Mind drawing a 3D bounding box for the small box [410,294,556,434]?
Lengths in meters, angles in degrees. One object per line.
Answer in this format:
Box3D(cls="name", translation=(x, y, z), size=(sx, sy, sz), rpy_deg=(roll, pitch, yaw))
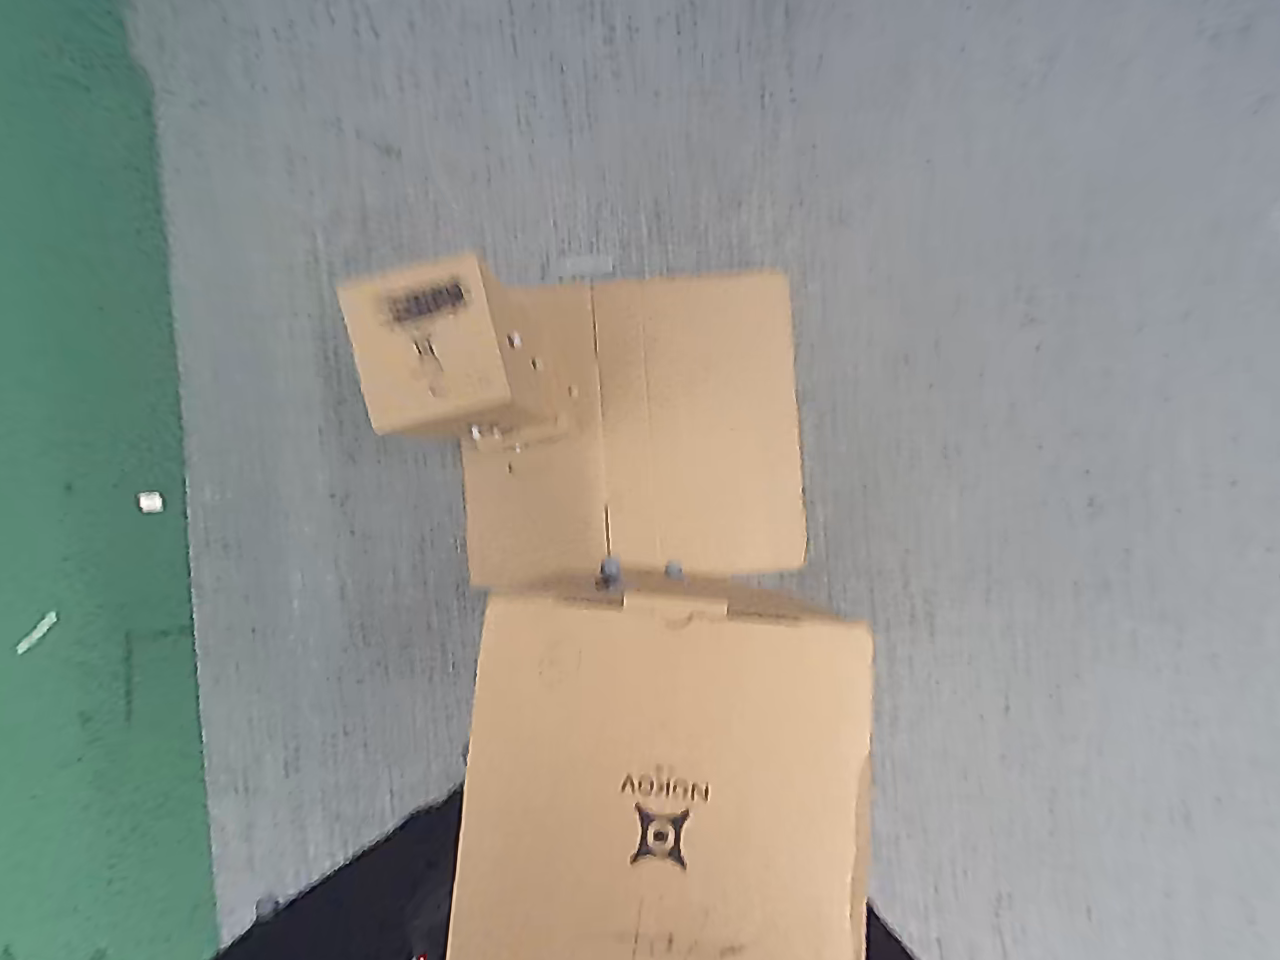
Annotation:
Box3D(cls="small box", translation=(-0.239, -0.173, 0.865), size=(0.168, 0.176, 0.179), rpy_deg=(-11, 89, 1))
